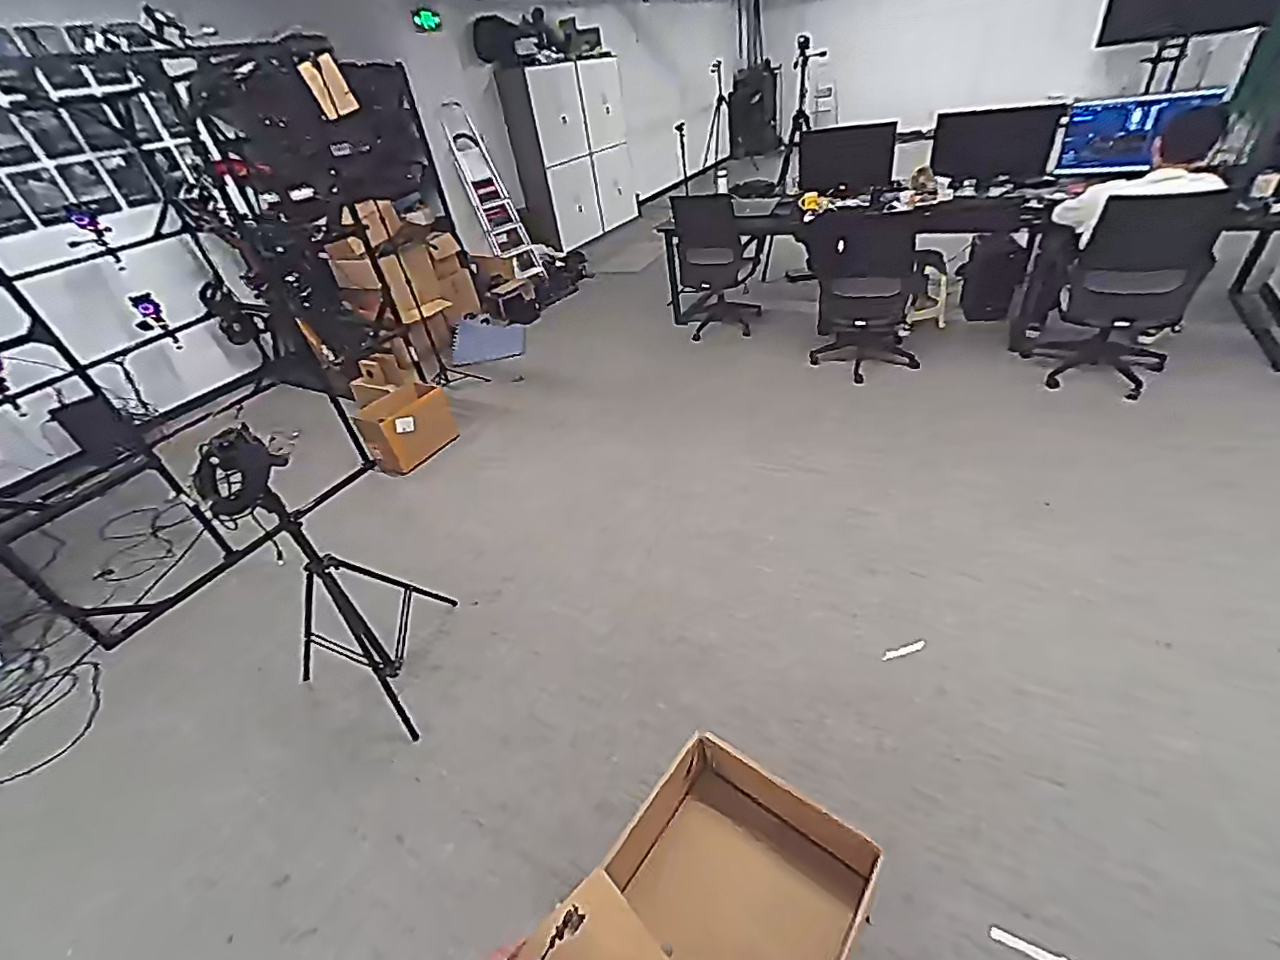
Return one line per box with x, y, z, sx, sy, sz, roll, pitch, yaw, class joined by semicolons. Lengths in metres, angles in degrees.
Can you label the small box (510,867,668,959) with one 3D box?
-0.041;0.610;0.627;0.168;0.176;0.179;-34;43;-28;small box
